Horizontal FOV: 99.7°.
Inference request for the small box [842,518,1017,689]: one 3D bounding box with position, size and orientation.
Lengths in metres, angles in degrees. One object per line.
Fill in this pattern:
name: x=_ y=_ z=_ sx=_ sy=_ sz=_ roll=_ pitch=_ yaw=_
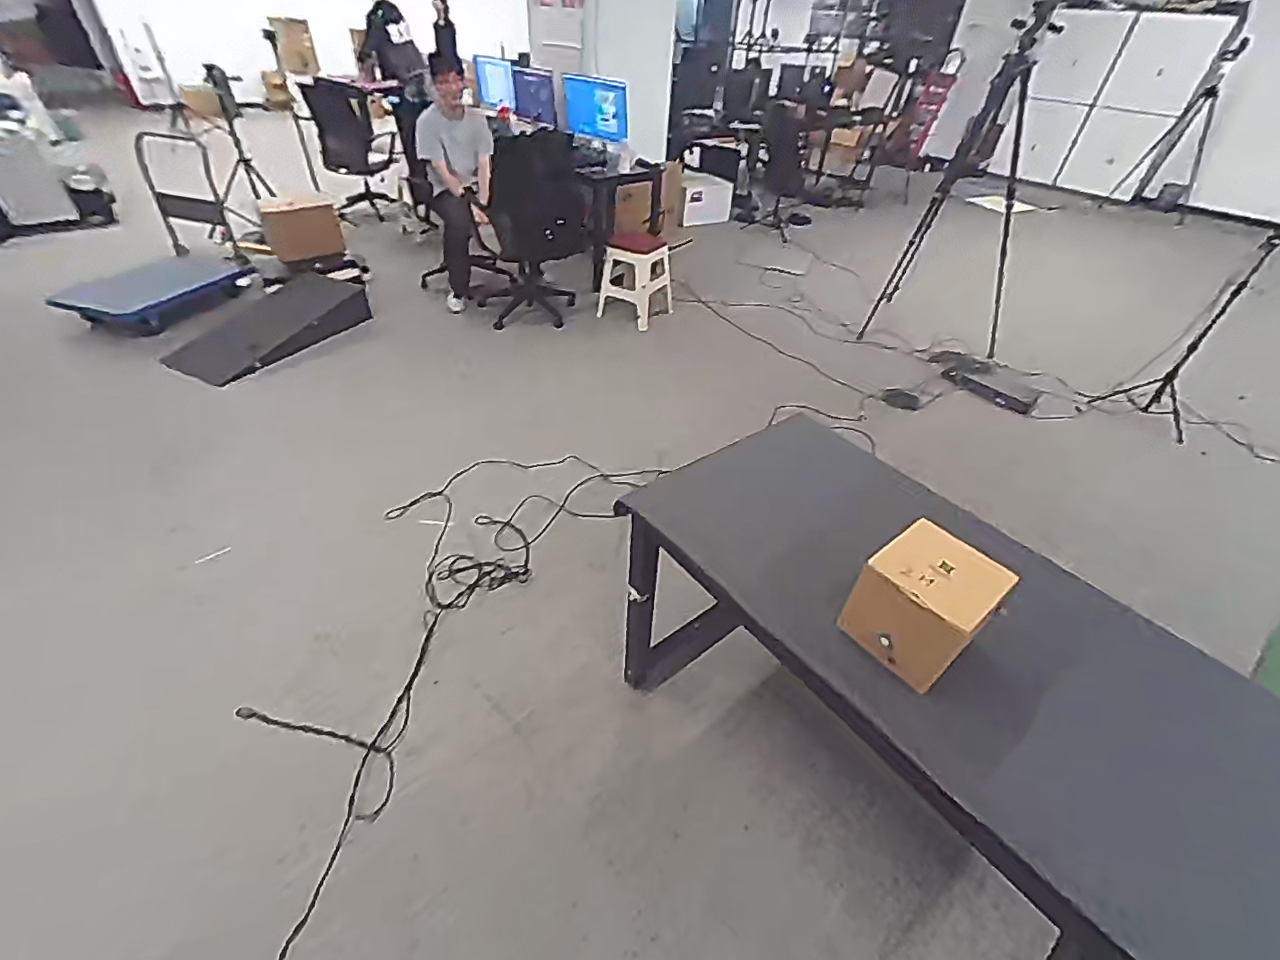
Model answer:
small box: x=0.460 y=0.199 z=0.884 sx=0.179 sy=0.176 sz=0.168 roll=-26 pitch=47 yaw=-31
